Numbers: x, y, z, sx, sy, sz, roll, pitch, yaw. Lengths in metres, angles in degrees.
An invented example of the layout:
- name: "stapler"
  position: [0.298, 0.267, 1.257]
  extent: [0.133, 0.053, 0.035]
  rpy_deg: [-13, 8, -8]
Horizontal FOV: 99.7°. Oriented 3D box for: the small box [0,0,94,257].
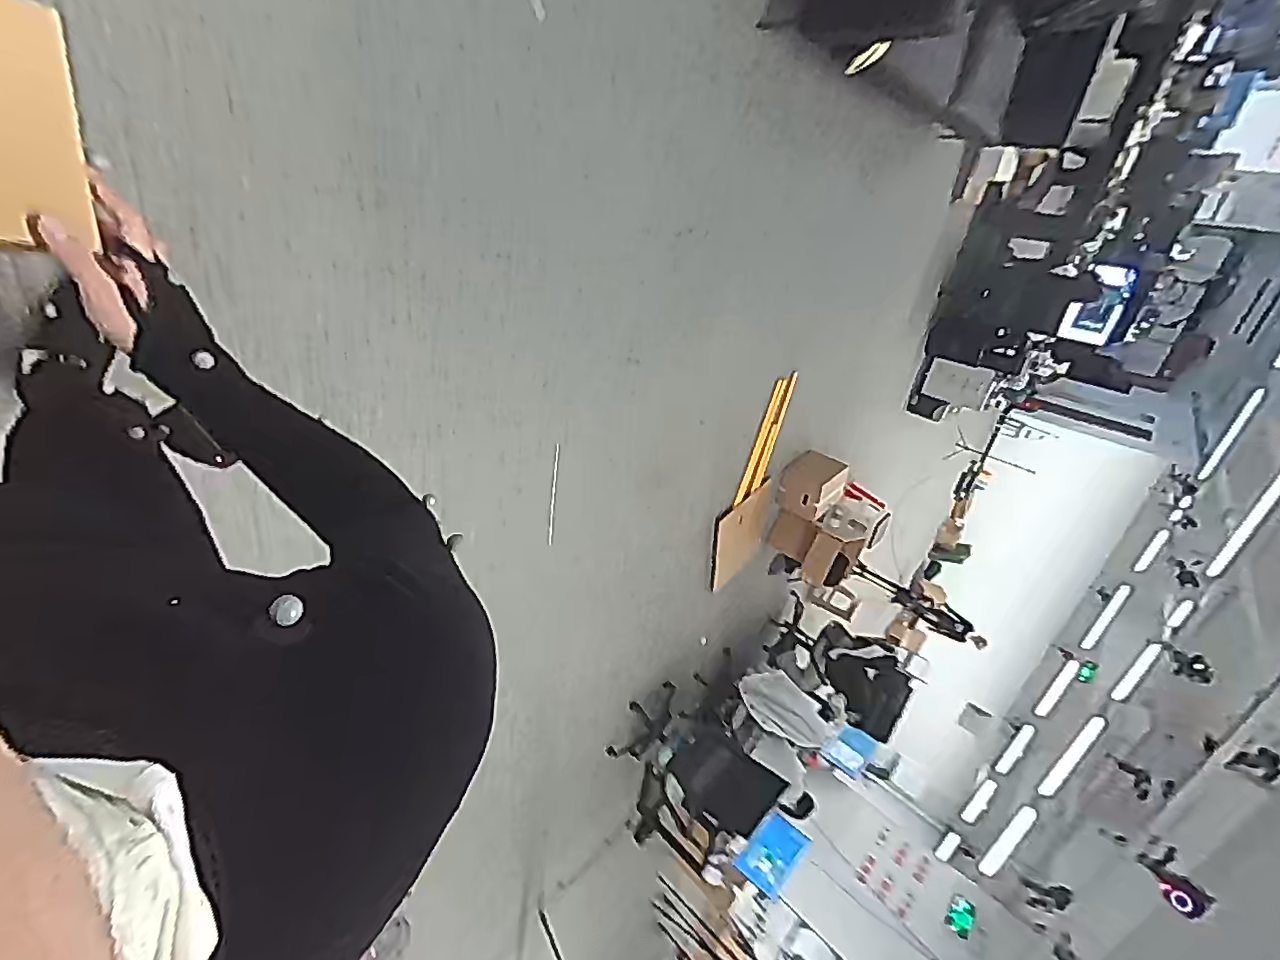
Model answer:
- name: "small box"
  position: [-0.562, -0.280, 0.423]
  extent: [0.168, 0.176, 0.179]
  rpy_deg: [-11, 114, -45]
